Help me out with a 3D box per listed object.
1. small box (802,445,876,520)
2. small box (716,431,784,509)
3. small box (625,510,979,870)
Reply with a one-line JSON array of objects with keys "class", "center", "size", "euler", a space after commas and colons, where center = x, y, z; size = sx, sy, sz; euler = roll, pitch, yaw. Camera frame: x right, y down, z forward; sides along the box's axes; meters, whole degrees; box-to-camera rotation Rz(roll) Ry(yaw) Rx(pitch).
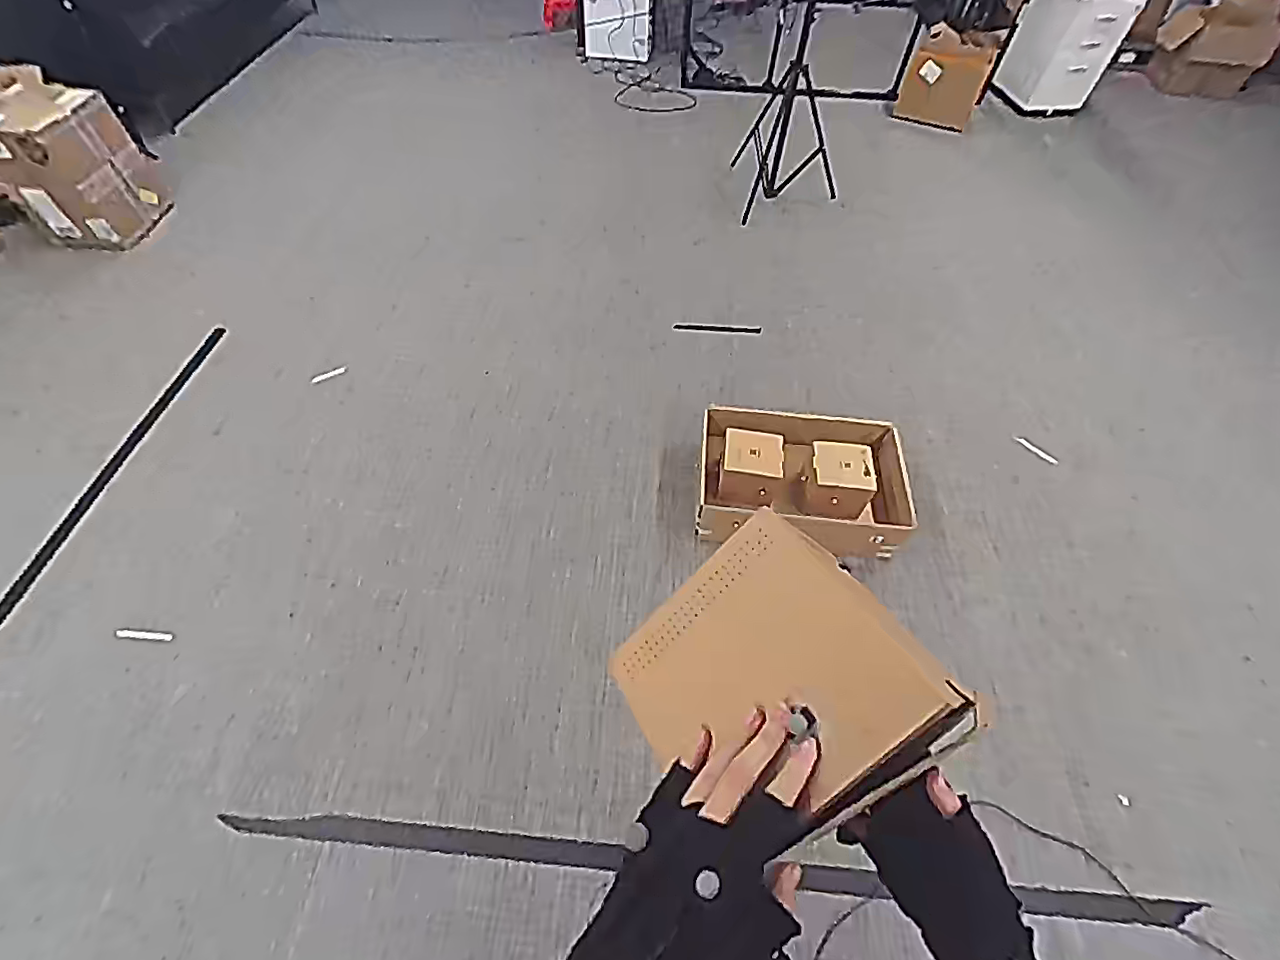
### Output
[{"class": "small box", "center": [0.606, 0.010, 1.674], "size": [0.179, 0.176, 0.168], "euler": [5, 56, 4]}, {"class": "small box", "center": [0.341, -0.027, 1.691], "size": [0.179, 0.176, 0.168], "euler": [8, 55, 4]}, {"class": "small box", "center": [0.120, 0.151, 0.421], "size": [0.179, 0.168, 0.176], "euler": [-47, 50, 11]}]
